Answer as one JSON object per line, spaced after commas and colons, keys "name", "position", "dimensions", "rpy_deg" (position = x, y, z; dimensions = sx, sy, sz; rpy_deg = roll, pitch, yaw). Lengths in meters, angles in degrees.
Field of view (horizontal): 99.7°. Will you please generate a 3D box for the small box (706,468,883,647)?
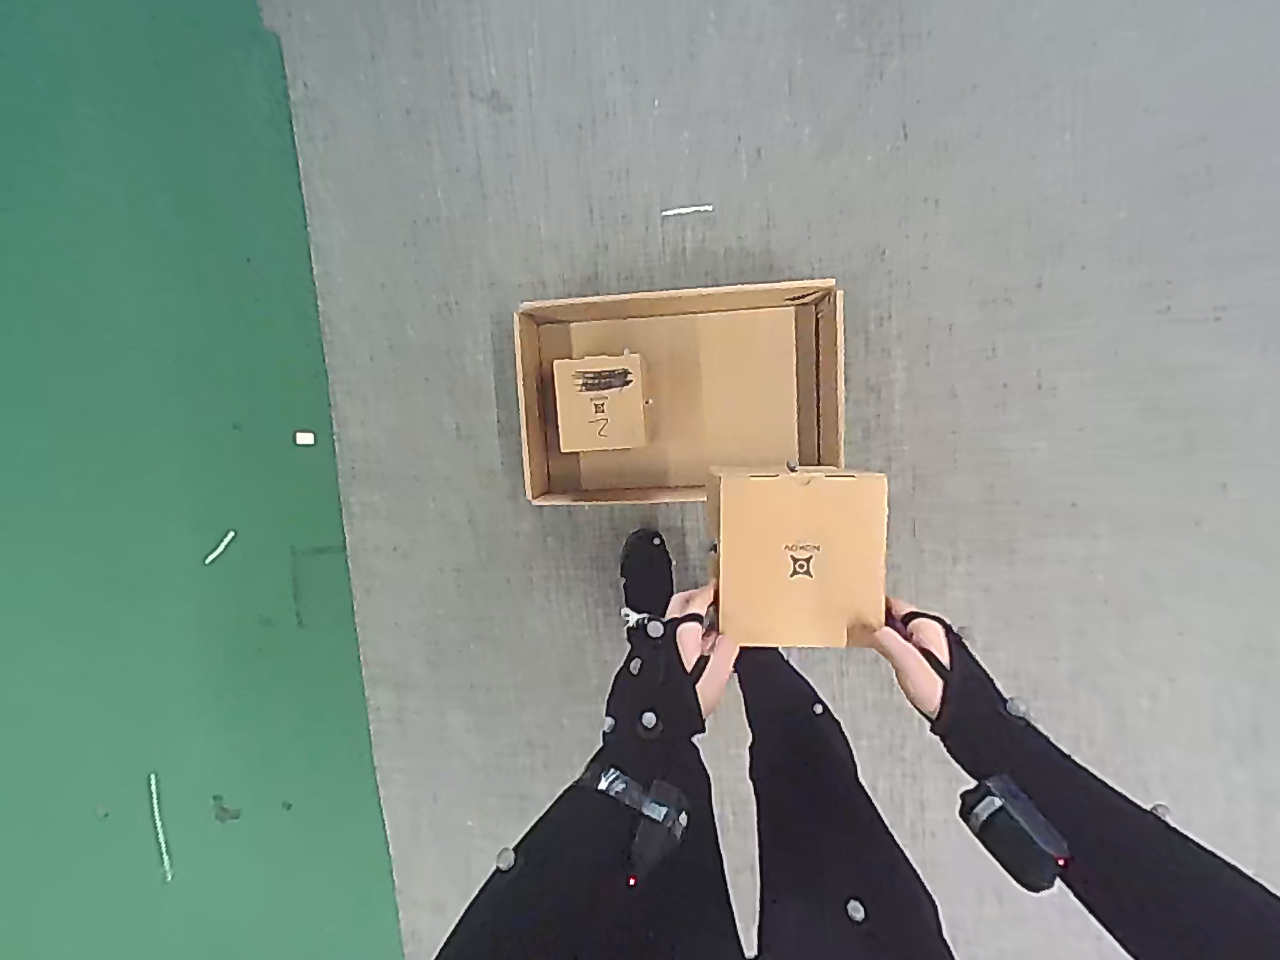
{"name": "small box", "position": [0.164, 0.077, 0.623], "dimensions": [0.168, 0.176, 0.179], "rpy_deg": [0, 92, 4]}
